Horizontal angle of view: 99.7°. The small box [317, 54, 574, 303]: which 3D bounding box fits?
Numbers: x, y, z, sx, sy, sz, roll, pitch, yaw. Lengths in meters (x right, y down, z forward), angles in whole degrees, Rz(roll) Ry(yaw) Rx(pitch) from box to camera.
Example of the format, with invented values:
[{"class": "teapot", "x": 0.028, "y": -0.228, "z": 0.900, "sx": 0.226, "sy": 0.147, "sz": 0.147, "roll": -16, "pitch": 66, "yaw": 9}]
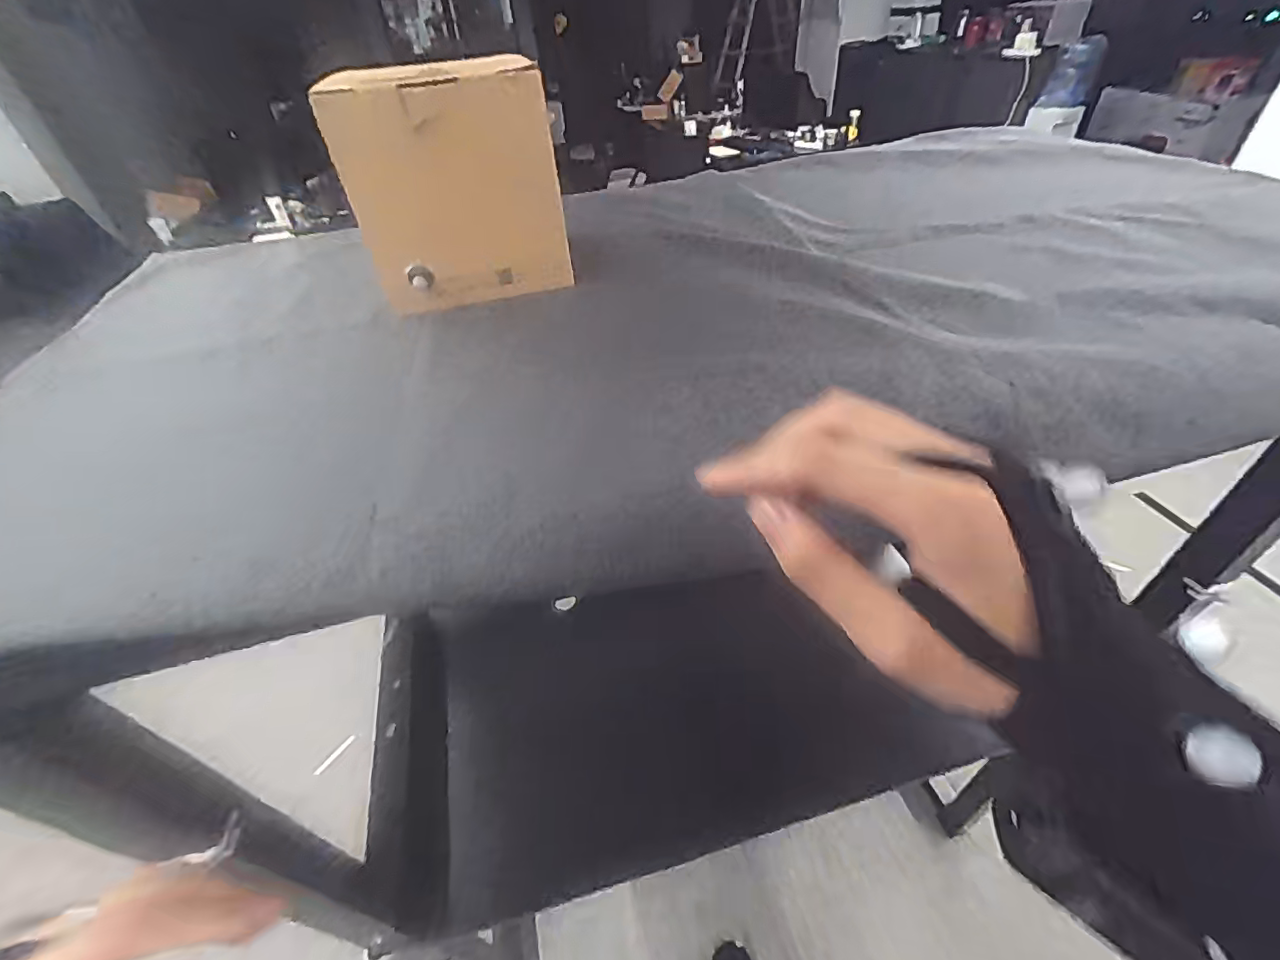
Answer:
[{"class": "small box", "x": -0.164, "y": -0.278, "z": 0.505, "sx": 0.168, "sy": 0.176, "sz": 0.179, "roll": -13, "pitch": 41, "yaw": -8}]
